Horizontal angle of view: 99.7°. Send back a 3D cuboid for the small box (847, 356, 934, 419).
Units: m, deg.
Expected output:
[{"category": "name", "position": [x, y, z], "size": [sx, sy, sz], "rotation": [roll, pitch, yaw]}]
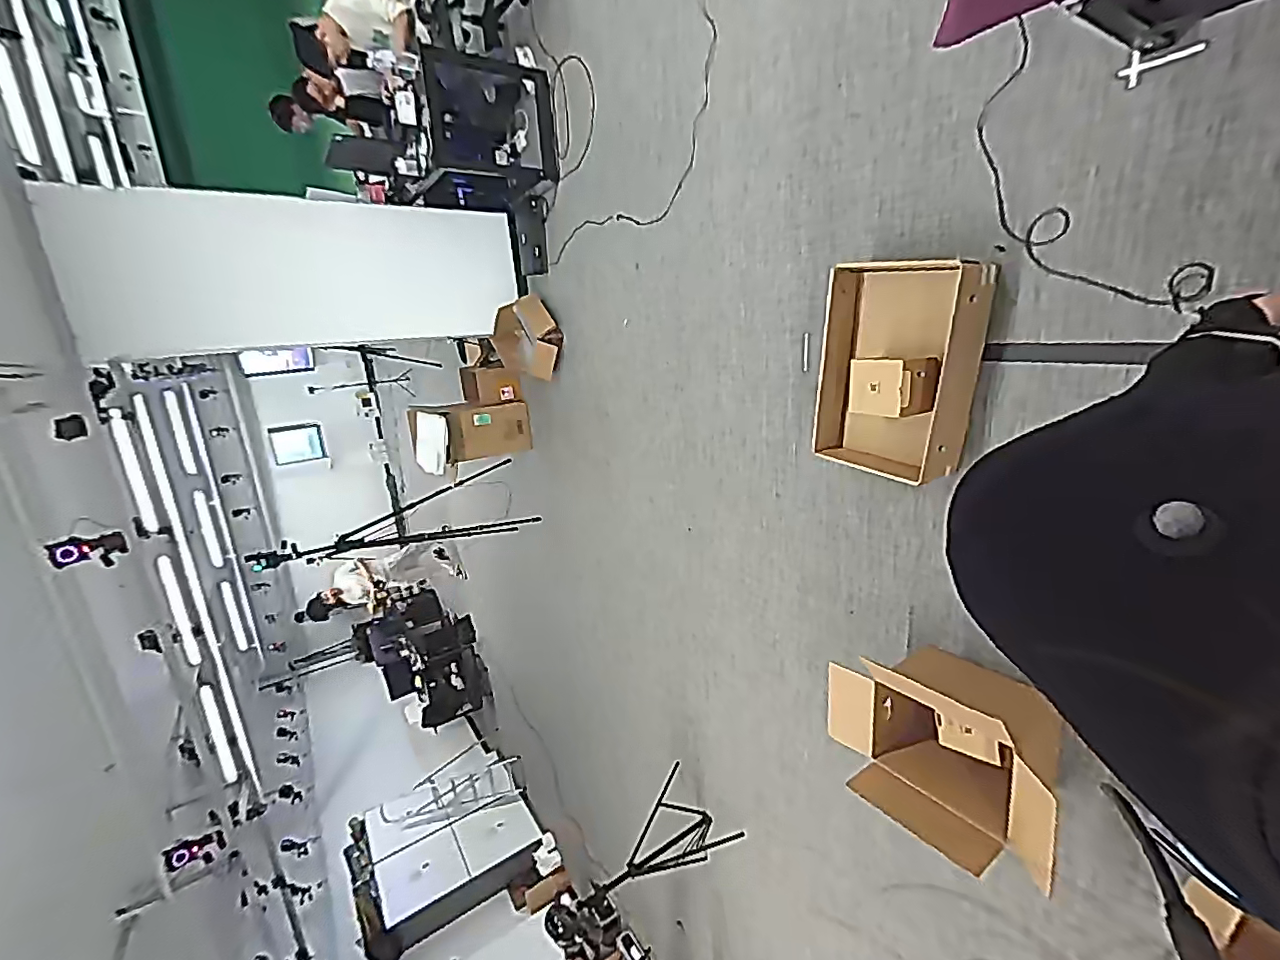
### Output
[{"category": "small box", "position": [0.755, -0.284, 1.630], "size": [0.179, 0.176, 0.168], "rotation": [20, 116, 54]}]
